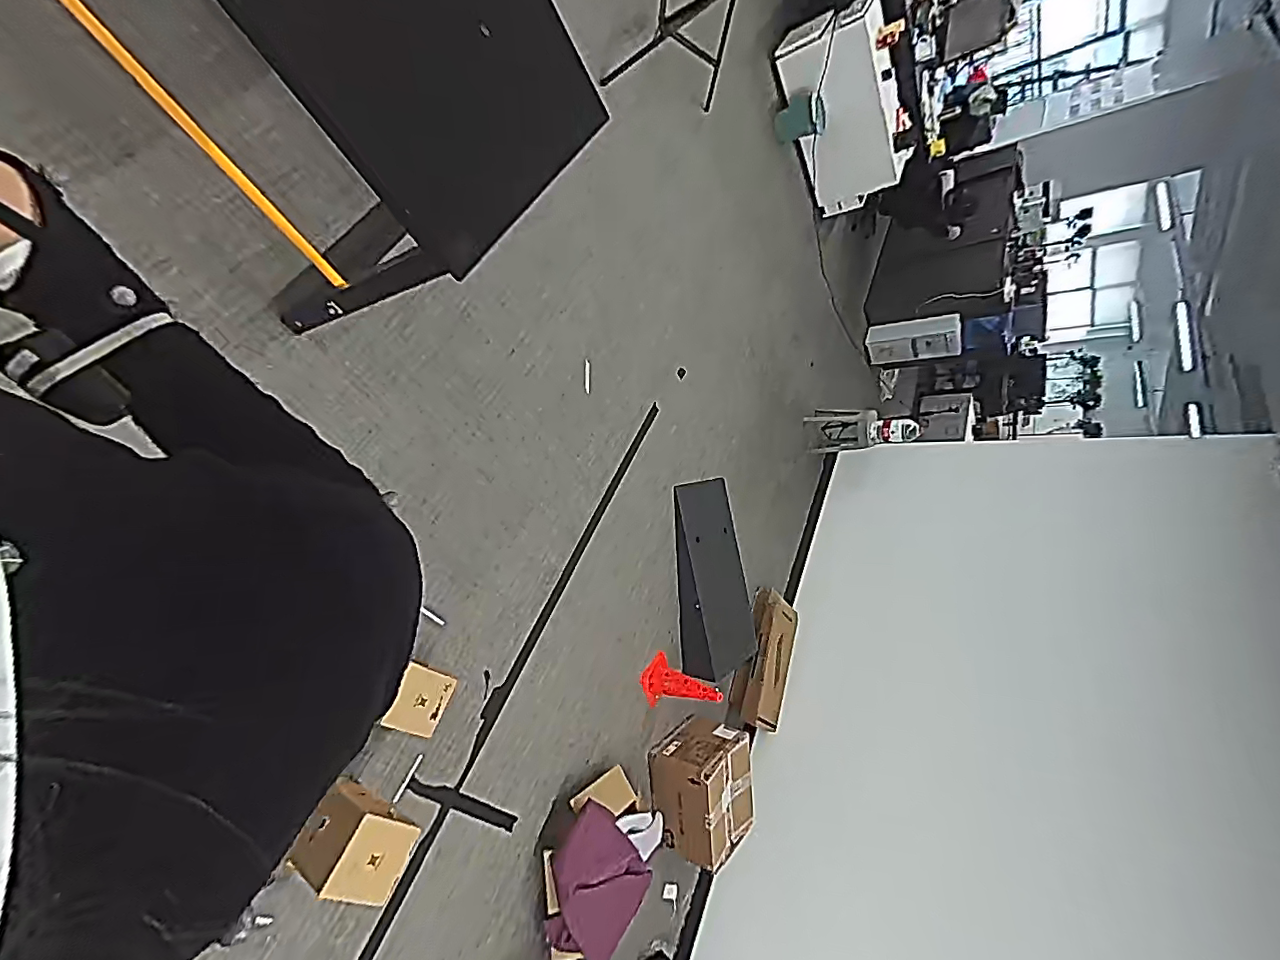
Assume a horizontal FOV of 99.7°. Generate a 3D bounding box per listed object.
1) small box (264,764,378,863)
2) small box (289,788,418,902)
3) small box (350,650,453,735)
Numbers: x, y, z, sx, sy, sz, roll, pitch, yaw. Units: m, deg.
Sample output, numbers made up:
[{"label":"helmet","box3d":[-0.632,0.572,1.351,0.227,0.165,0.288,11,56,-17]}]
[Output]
[{"label":"small box","box3d":[-0.804,0.856,1.373,0.168,0.176,0.179,56,51,-36]},{"label":"small box","box3d":[-0.674,0.855,1.276,0.179,0.176,0.168,50,52,-38]},{"label":"small box","box3d":[-0.675,0.594,1.527,0.179,0.176,0.168,46,56,-42]}]
